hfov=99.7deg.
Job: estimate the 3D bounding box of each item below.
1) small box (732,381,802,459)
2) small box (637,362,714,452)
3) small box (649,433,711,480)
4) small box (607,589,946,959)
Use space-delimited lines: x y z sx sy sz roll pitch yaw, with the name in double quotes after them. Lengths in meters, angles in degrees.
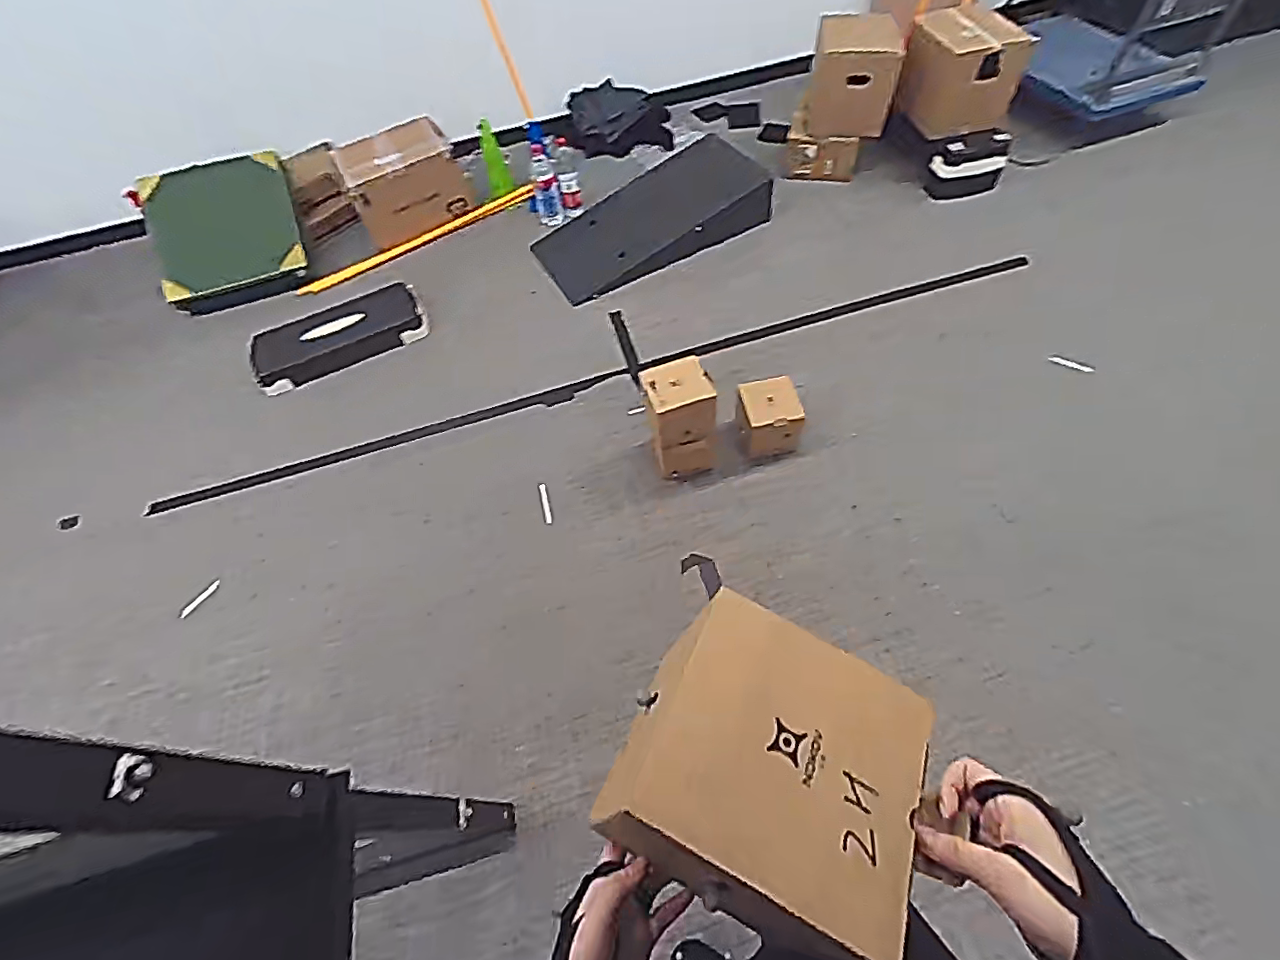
0.396 -0.183 1.713 0.168 0.176 0.179 -11 56 -2 "small box"
0.102 -0.207 1.561 0.179 0.176 0.168 -17 56 -6 "small box"
0.122 -0.116 1.697 0.168 0.176 0.179 -14 56 -3 "small box"
0.091 0.220 0.411 0.179 0.176 0.168 28 54 7 "small box"
